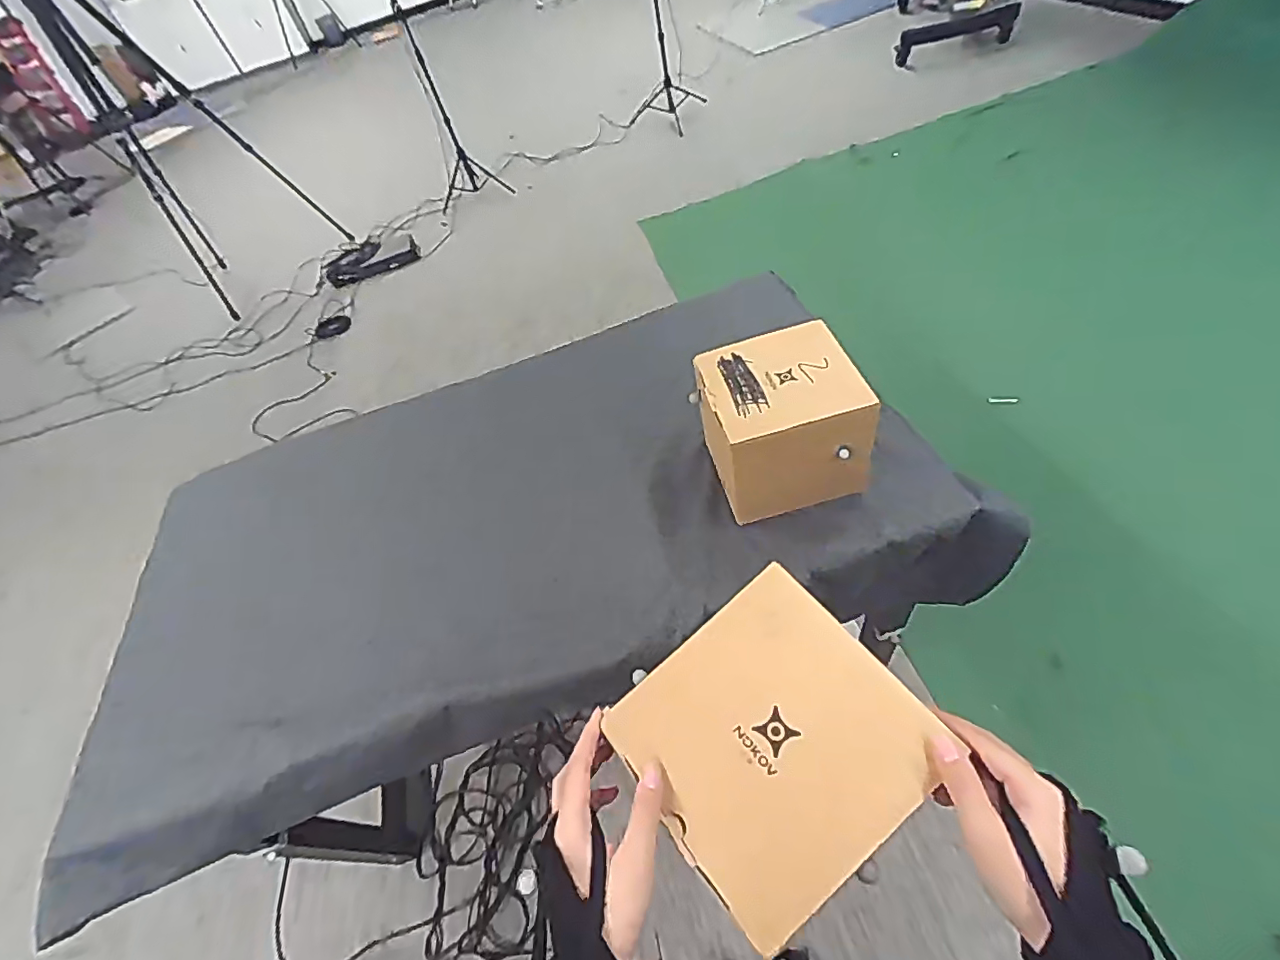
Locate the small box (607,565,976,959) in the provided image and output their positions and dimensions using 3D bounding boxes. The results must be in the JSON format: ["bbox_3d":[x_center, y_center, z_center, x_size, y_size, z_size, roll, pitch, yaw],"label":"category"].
[{"bbox_3d":[0.105,0.199,0.420,0.179,0.176,0.168,-41,63,-7],"label":"small box"}]
